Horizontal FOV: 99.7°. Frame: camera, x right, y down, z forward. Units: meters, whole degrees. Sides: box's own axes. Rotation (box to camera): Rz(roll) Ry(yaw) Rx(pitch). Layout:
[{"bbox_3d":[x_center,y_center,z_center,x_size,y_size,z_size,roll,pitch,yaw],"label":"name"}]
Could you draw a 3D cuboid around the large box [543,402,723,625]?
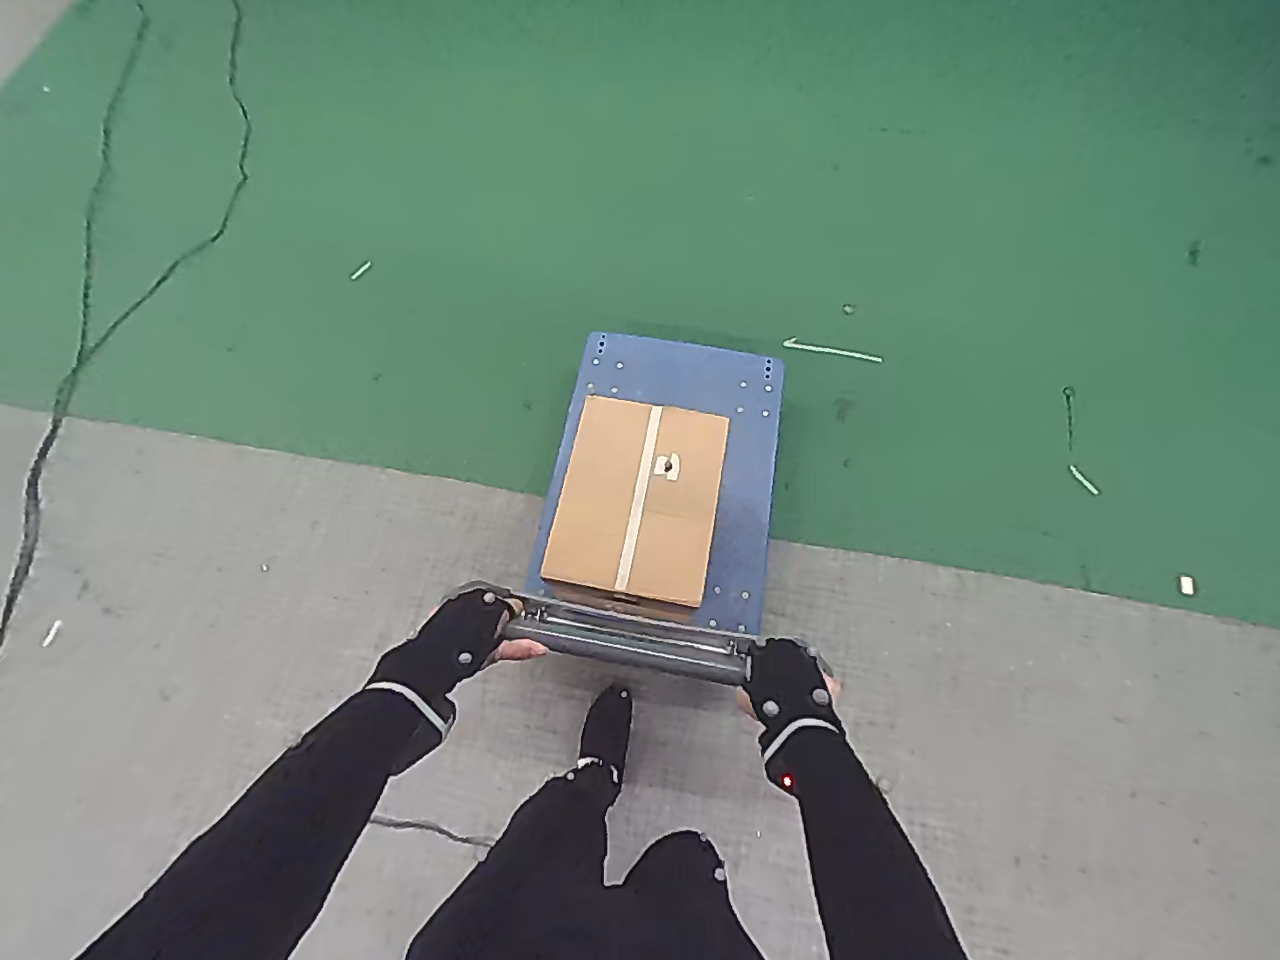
[{"bbox_3d":[-0.004,0.090,1.234,0.320,0.320,0.408,10,69,3],"label":"large box"}]
